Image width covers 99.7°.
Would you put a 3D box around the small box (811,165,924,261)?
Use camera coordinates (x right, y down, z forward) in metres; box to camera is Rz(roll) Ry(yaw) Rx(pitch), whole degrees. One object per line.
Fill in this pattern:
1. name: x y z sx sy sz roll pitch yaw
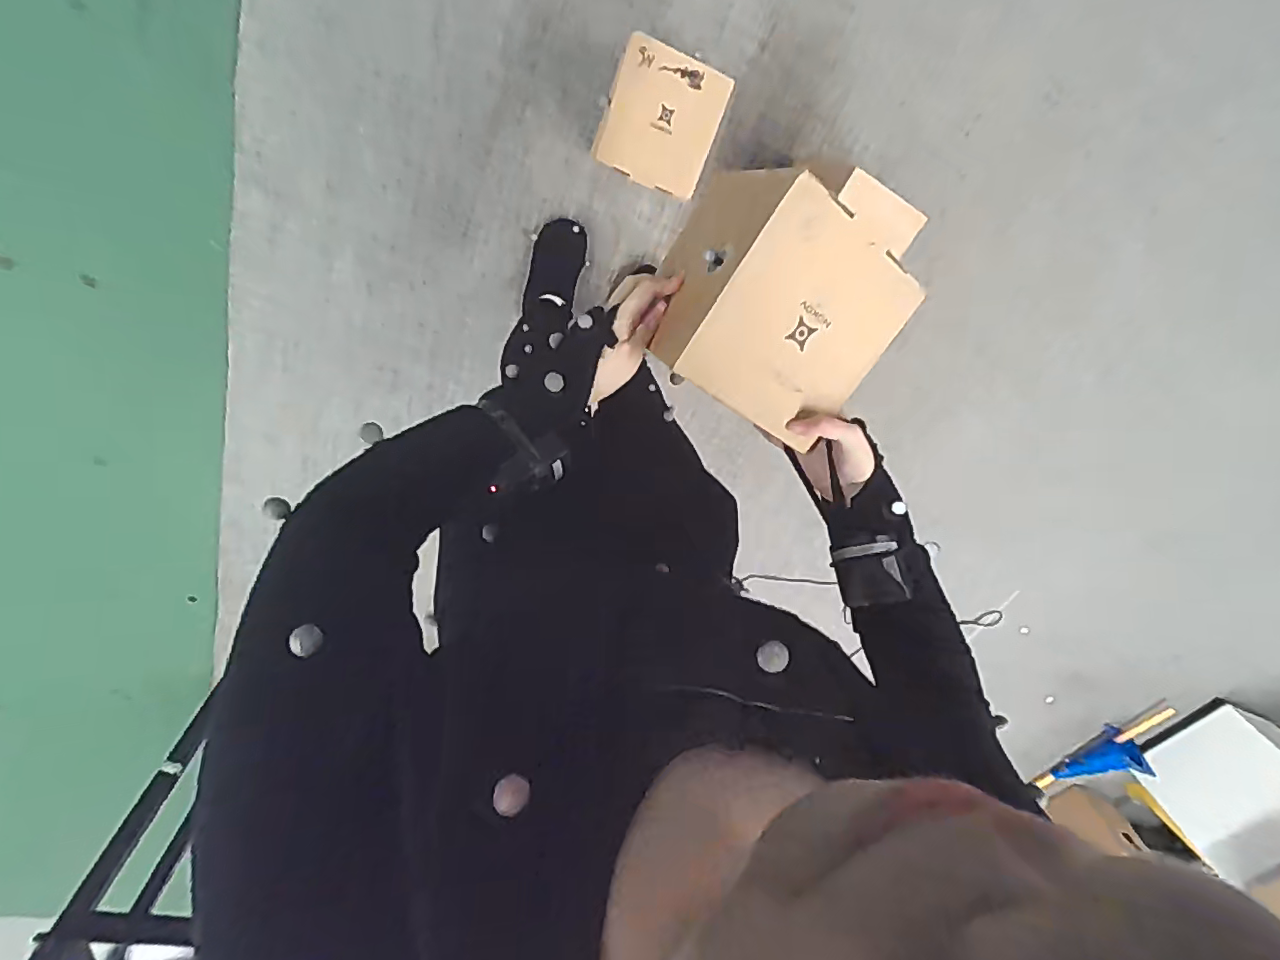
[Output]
1. small box: 0.372 -0.459 1.004 0.168 0.176 0.179 22 118 -18

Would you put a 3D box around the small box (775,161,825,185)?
1. small box: 0.354 -0.546 1.143 0.168 0.176 0.179 24 118 -19

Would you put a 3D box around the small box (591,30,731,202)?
1. small box: 0.026 -0.586 0.888 0.168 0.176 0.179 16 120 -15

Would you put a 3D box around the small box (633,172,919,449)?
1. small box: 0.114 -0.165 0.525 0.168 0.176 0.179 26 107 -27
